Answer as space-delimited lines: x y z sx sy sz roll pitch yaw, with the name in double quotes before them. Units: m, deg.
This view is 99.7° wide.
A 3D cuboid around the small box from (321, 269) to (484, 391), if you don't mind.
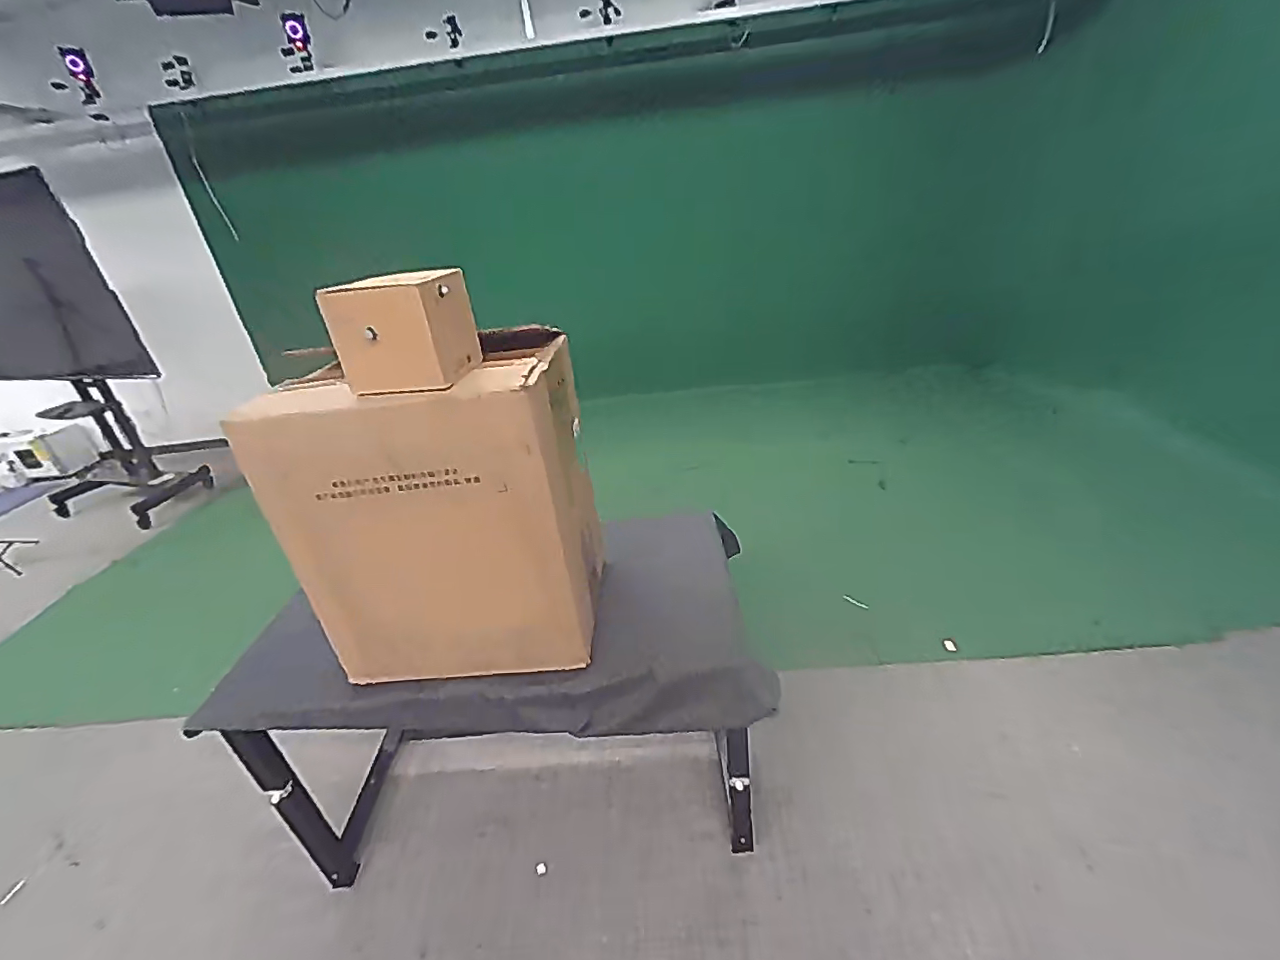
"small box" -0.396 -0.258 0.935 0.179 0.176 0.168 -2 28 9
